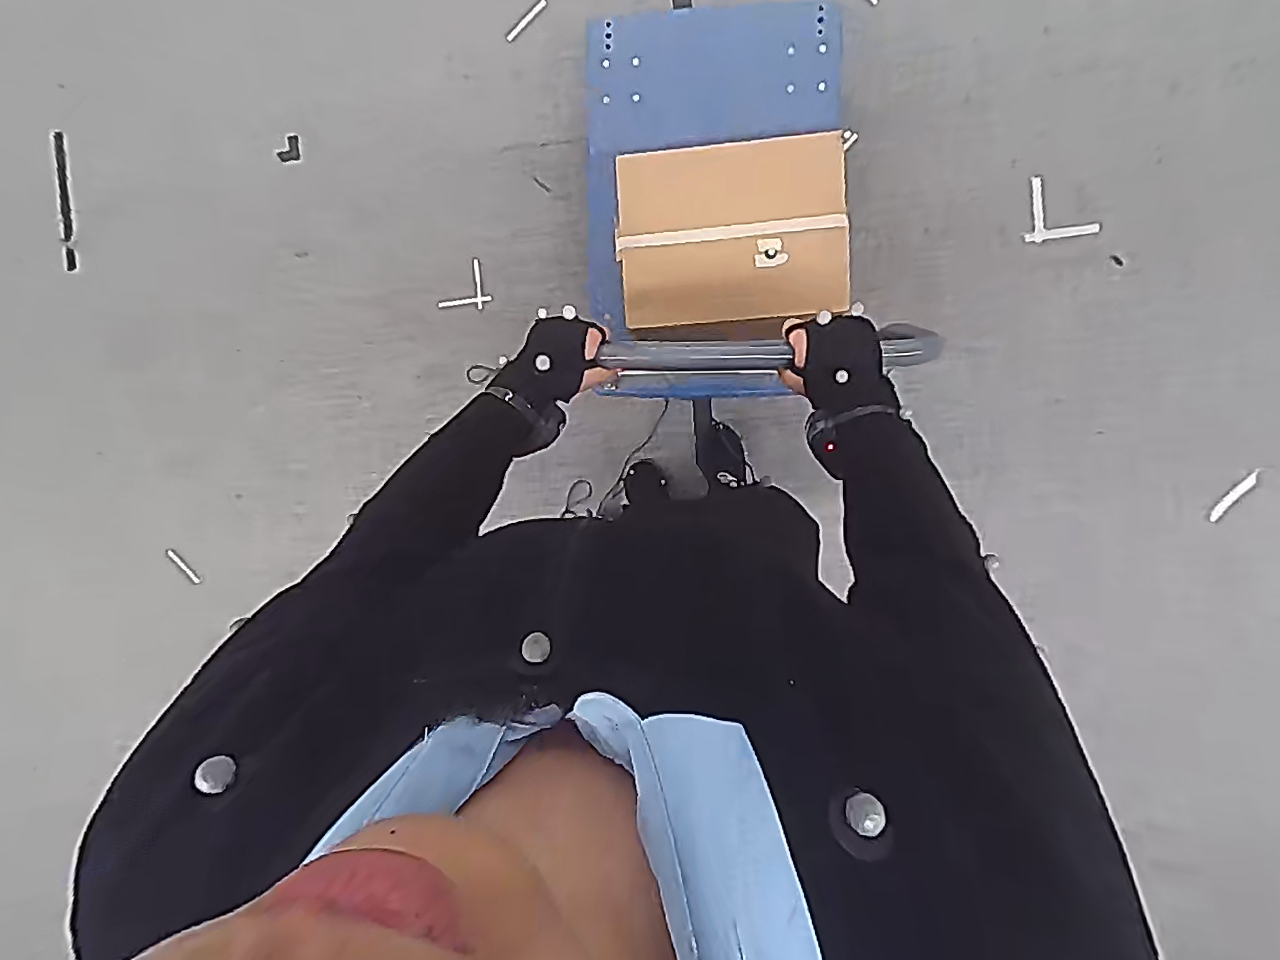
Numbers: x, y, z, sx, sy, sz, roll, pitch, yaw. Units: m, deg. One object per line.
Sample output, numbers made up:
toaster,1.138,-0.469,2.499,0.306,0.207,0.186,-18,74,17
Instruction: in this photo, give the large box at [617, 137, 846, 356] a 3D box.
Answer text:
large box,0.176,-0.455,1.135,0.408,0.320,0.320,-4,94,4
